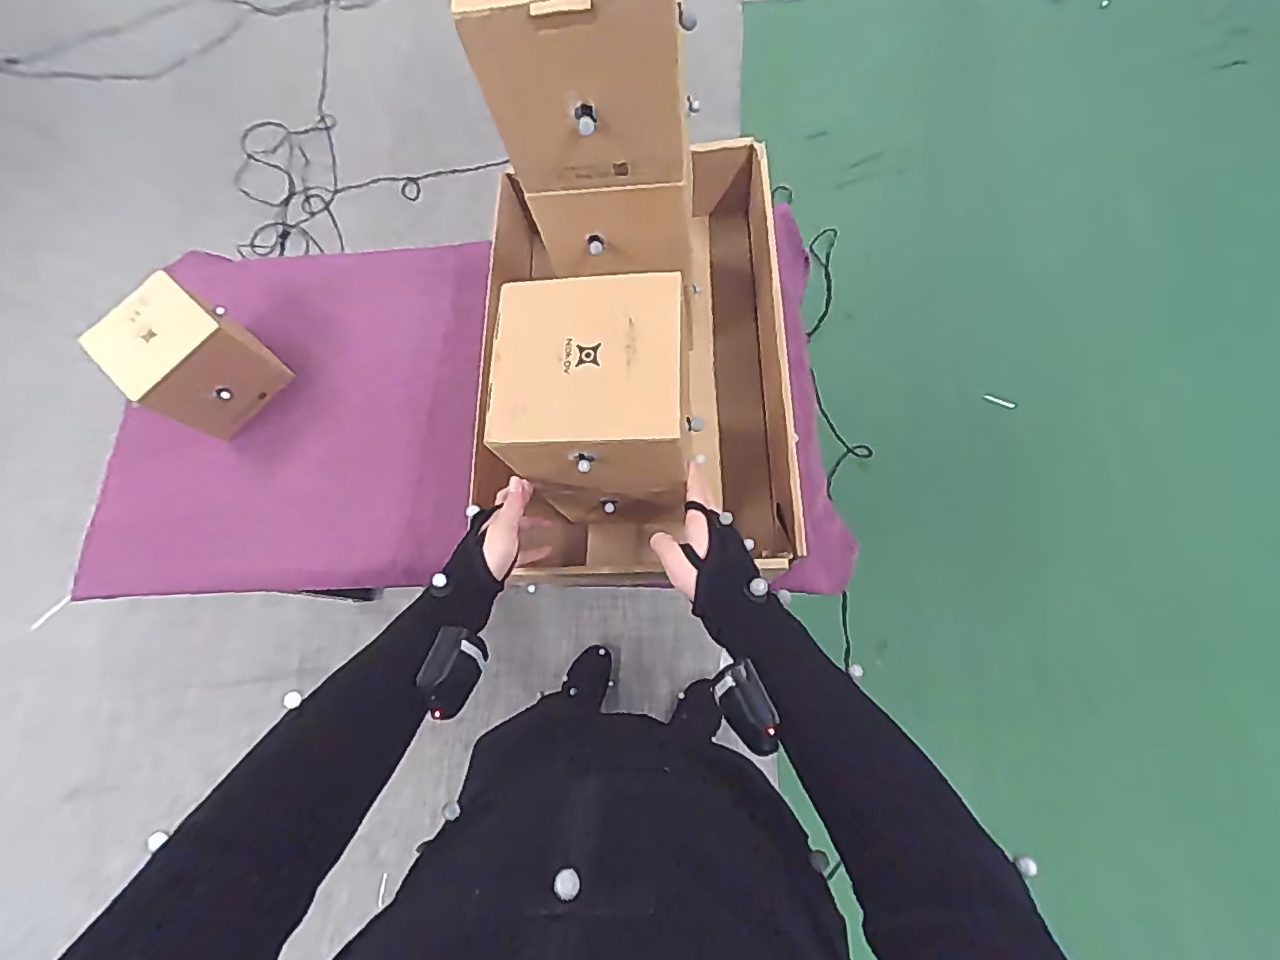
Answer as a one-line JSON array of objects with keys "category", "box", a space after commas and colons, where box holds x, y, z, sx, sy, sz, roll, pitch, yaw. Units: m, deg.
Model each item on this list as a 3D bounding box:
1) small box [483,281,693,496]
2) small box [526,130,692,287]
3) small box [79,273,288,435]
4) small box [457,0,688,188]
[{"category": "small box", "box": [-0.038, -0.082, 0.561, 0.179, 0.176, 0.168, 0, 74, 8]}, {"category": "small box", "box": [-0.024, -0.340, 0.640, 0.168, 0.176, 0.179, -1, 73, 7]}, {"category": "small box", "box": [-0.742, -0.196, 0.900, 0.179, 0.176, 0.168, 39, 80, 16]}, {"category": "small box", "box": [-0.042, -0.388, 0.484, 0.168, 0.176, 0.179, 0, 74, 7]}]
